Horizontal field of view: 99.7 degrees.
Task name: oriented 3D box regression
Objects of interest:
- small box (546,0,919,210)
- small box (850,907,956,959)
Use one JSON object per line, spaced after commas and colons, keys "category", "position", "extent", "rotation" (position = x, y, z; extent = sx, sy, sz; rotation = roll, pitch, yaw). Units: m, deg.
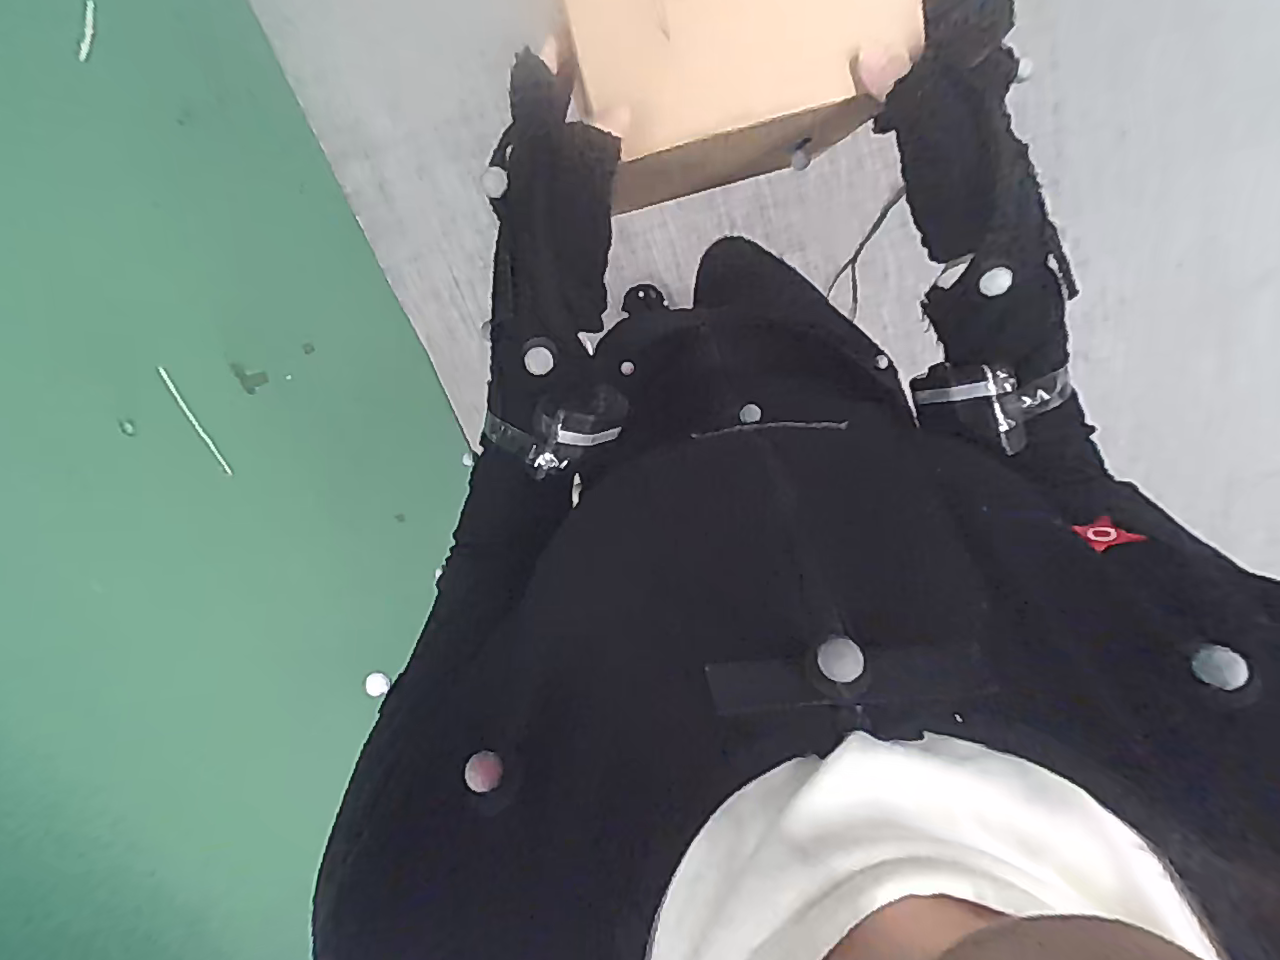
{"category": "small box", "position": [0.037, -0.289, 0.334], "extent": [0.179, 0.176, 0.168], "rotation": [-16, 106, 2]}
{"category": "small box", "position": [0.515, 0.957, 1.023], "extent": [0.179, 0.176, 0.168], "rotation": [-18, 113, 7]}
